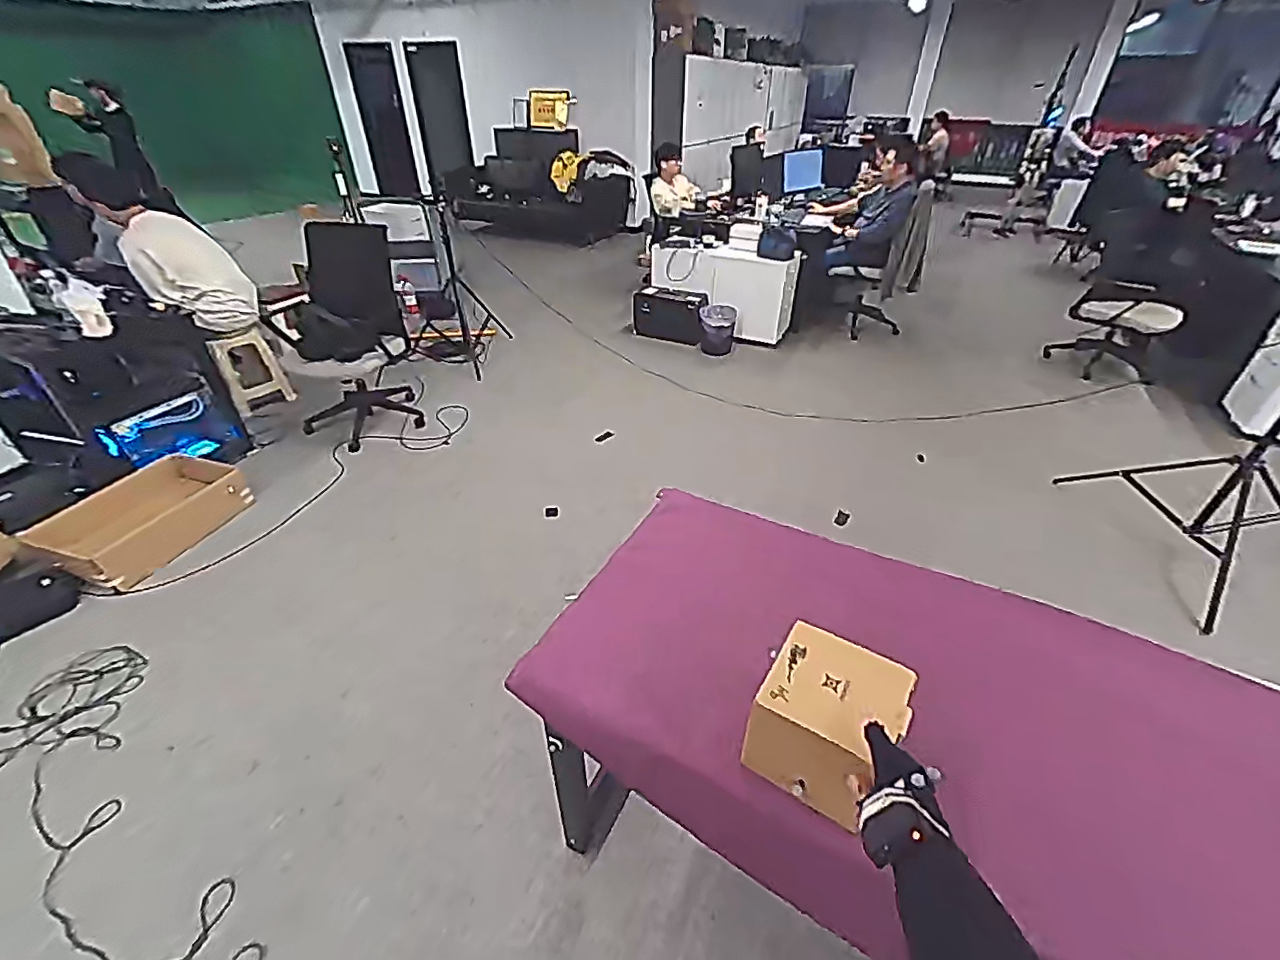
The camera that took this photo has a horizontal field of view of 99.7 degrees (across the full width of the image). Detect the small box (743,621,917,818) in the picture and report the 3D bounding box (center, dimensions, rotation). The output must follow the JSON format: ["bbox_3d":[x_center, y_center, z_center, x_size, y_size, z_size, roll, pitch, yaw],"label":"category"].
[{"bbox_3d":[0.267,0.347,0.780,0.179,0.176,0.168,22,40,27],"label":"small box"}]
